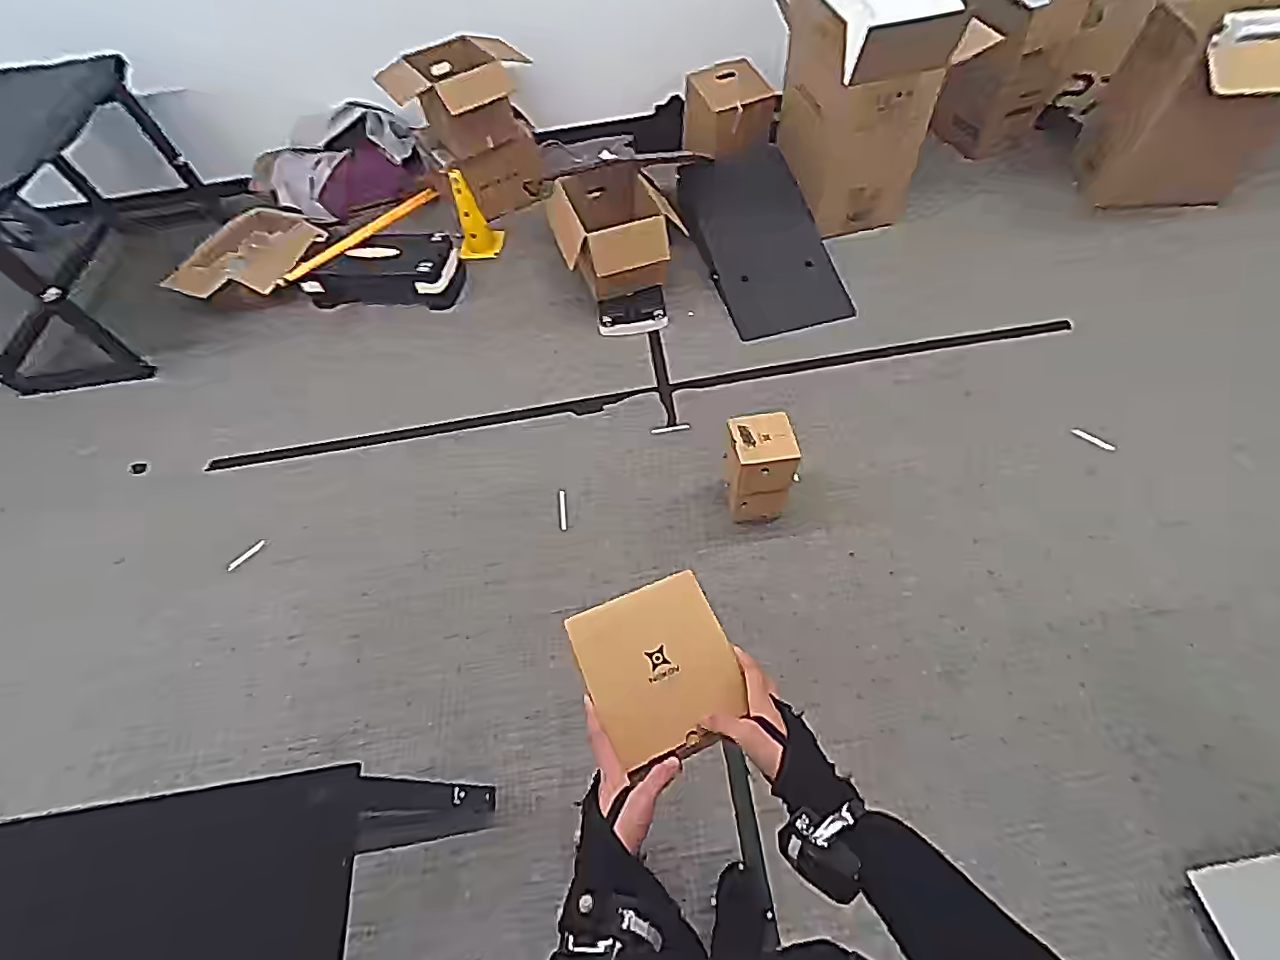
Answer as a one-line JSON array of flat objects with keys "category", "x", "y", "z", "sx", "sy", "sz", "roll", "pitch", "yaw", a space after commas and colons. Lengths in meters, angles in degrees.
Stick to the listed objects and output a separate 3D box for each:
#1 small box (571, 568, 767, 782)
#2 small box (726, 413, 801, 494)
[{"category": "small box", "x": 0.024, "y": 0.239, "z": 0.655, "sx": 0.168, "sy": 0.176, "sz": 0.179, "roll": -20, "pitch": 60, "yaw": -14}, {"category": "small box", "x": 0.354, "y": -0.074, "z": 1.593, "sx": 0.179, "sy": 0.176, "sz": 0.168, "roll": -8, "pitch": 58, "yaw": -1}]
